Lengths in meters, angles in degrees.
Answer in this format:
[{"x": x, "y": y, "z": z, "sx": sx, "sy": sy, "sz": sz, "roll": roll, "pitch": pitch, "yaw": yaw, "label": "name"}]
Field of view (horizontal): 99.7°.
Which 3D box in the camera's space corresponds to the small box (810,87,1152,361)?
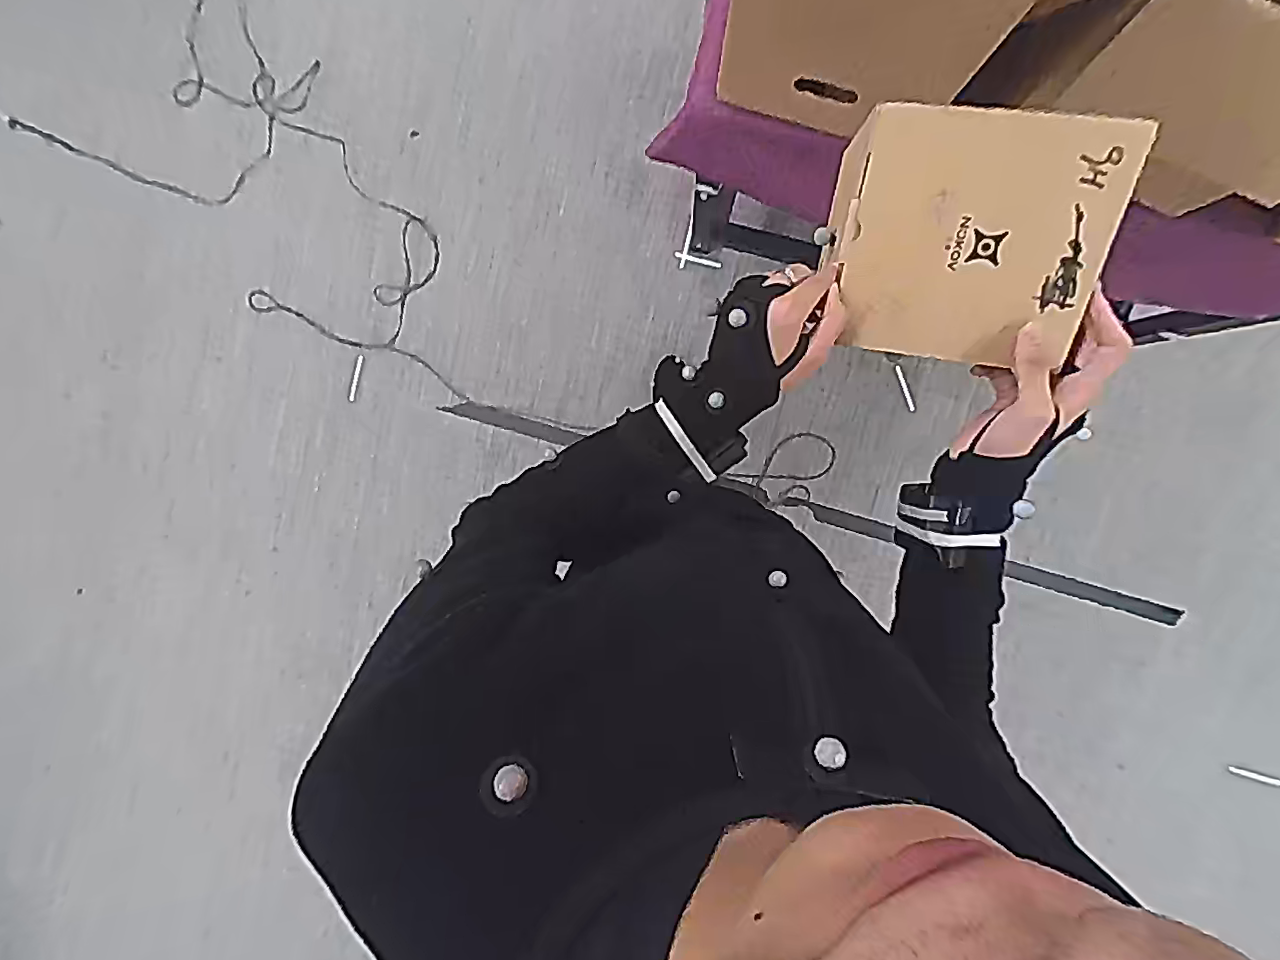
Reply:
[{"x": 0.251, "y": -0.206, "z": 0.459, "sx": 0.179, "sy": 0.176, "sz": 0.168, "roll": 11, "pitch": 113, "yaw": 9, "label": "small box"}]
